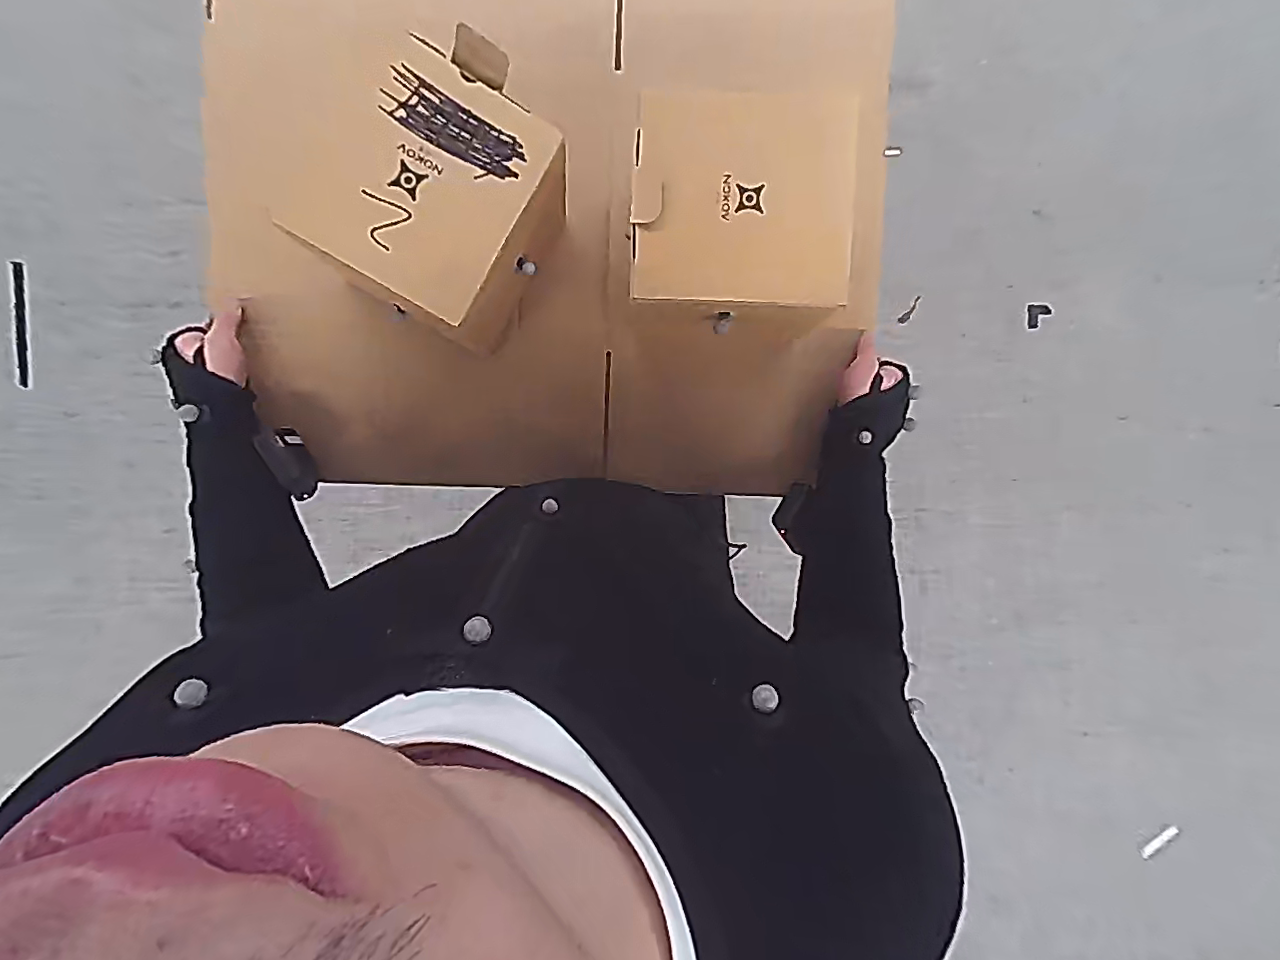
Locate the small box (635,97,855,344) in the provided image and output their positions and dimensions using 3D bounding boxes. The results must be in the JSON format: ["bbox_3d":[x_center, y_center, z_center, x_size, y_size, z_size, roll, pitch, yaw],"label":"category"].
[{"bbox_3d":[0.087,-0.233,0.526,0.179,0.176,0.168,2,93,1],"label":"small box"}]
